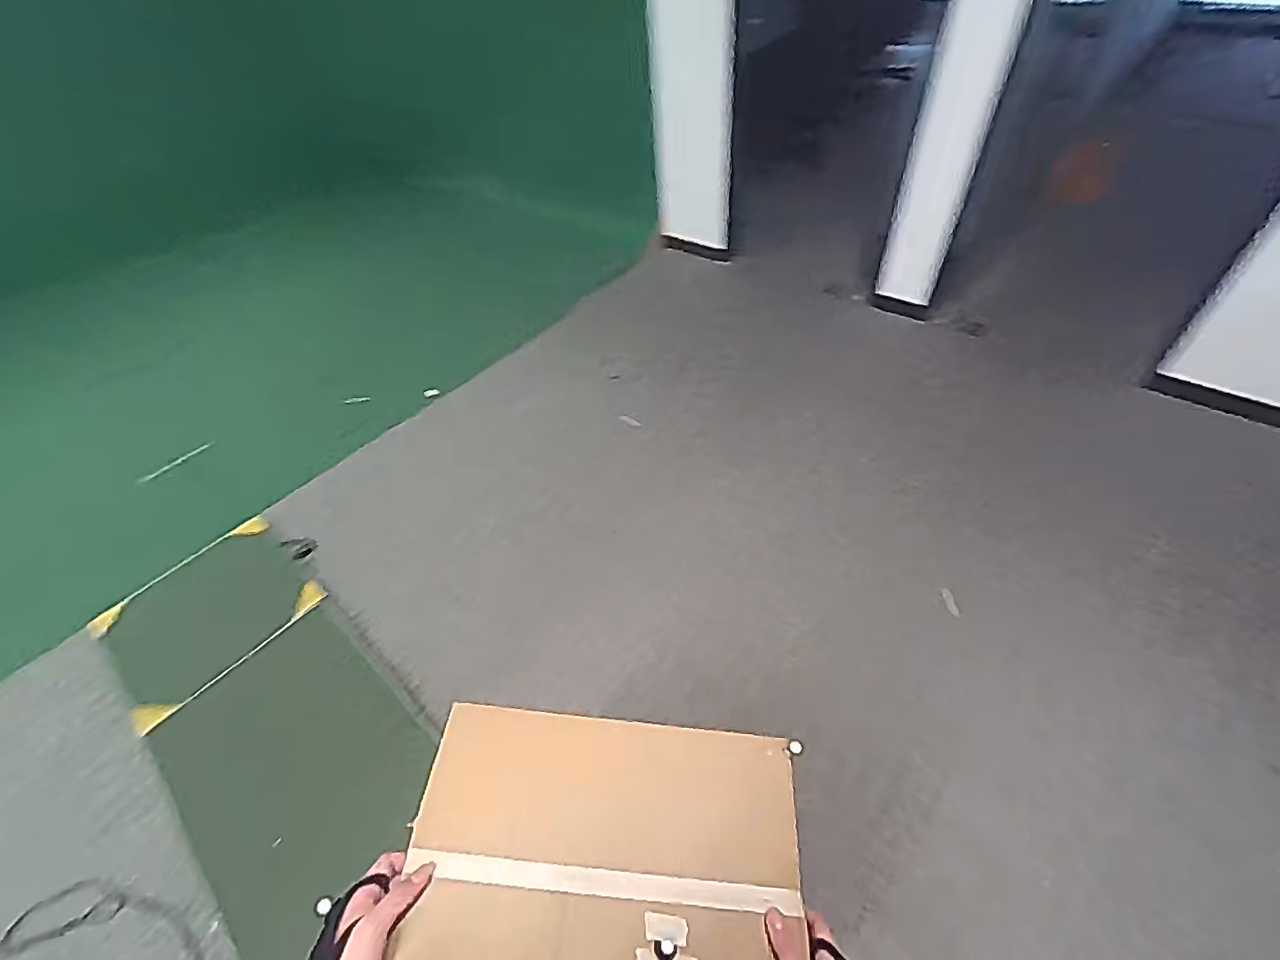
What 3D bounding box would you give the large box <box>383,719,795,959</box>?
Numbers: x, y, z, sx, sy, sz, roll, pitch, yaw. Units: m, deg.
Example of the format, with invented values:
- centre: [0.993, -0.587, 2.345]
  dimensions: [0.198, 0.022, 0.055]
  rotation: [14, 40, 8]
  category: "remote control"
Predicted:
- centre: [-0.053, 0.516, 0.668]
  dimensions: [0.408, 0.320, 0.320]
  rotation: [5, 50, 0]
  category: "large box"
